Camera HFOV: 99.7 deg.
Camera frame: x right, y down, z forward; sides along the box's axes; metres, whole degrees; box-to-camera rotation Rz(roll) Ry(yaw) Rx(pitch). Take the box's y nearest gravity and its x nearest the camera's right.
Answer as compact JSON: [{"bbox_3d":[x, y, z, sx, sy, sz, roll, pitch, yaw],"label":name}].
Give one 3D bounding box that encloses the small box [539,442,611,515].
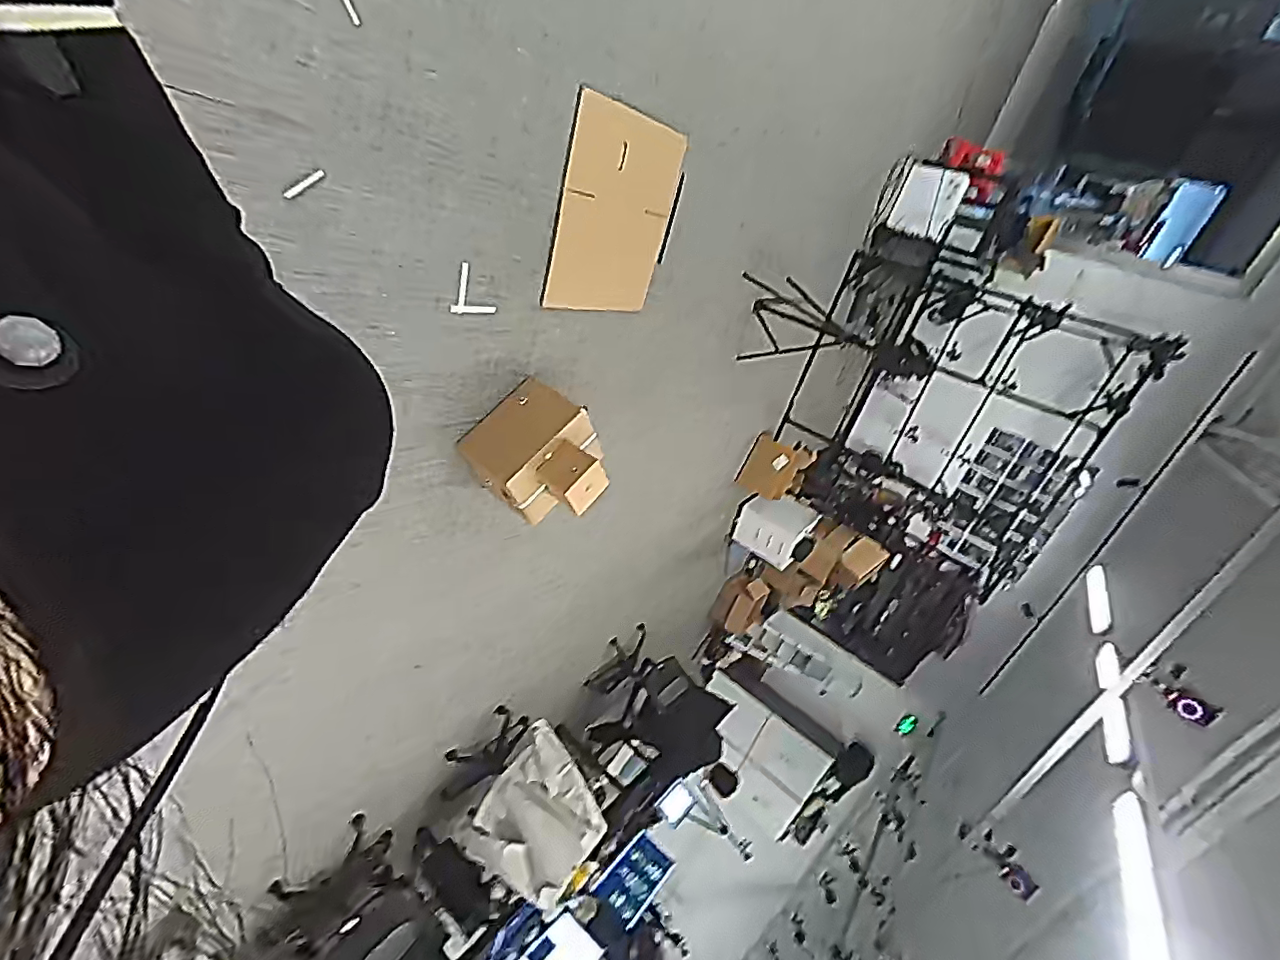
[{"bbox_3d":[-0.239,-0.010,1.983,0.179,0.176,0.168,-48,149,-16],"label":"small box"}]
